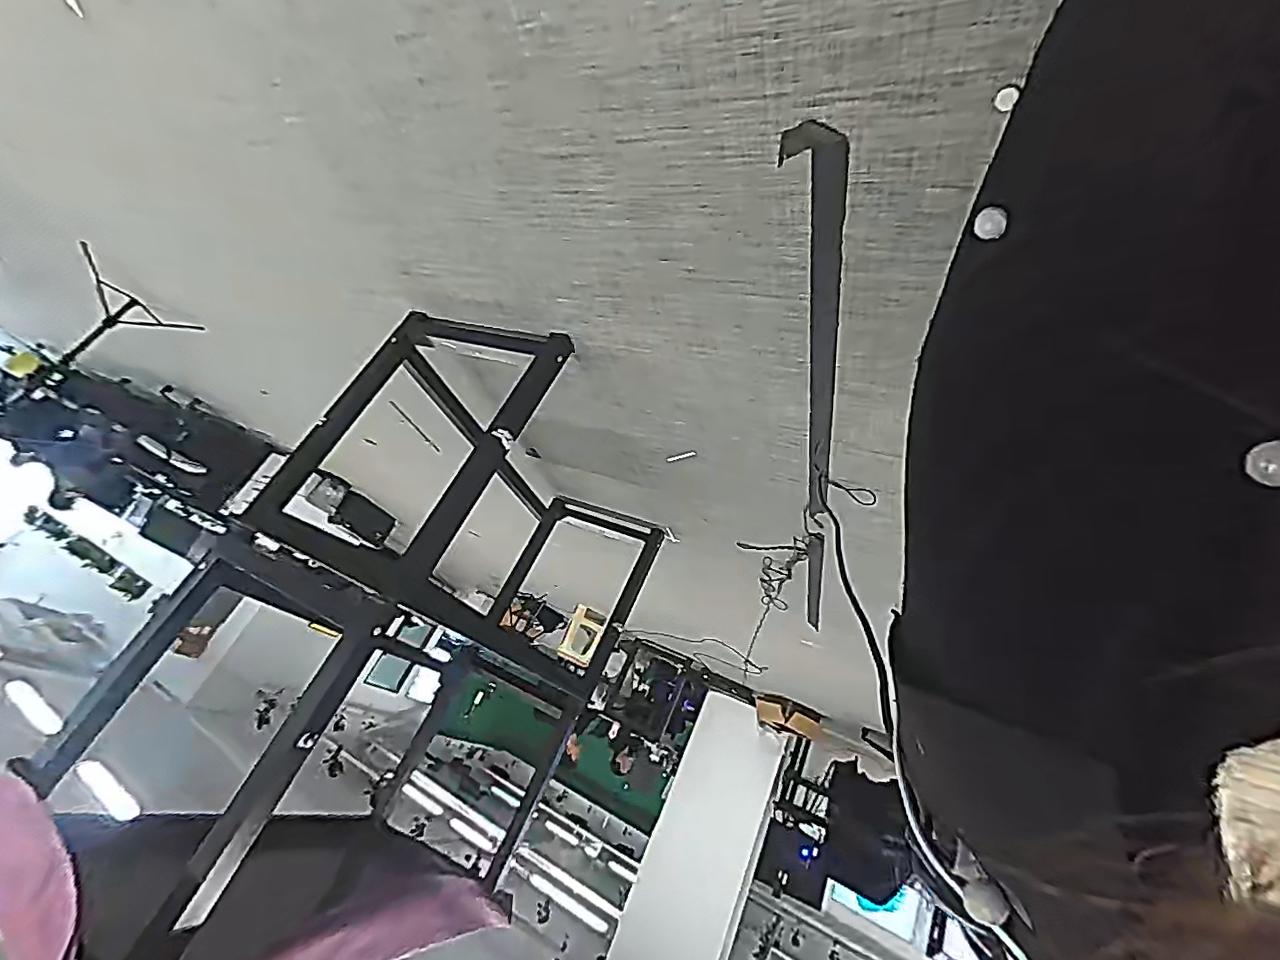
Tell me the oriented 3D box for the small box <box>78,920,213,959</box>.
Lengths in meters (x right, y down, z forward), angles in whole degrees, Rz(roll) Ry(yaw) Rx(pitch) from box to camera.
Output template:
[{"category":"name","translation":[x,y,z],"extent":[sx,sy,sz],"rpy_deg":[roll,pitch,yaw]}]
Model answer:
[{"category":"small box","translation":[-0.942,0.957,0.989],"extent":[0.179,0.176,0.168],"rpy_deg":[18,157,22]}]
